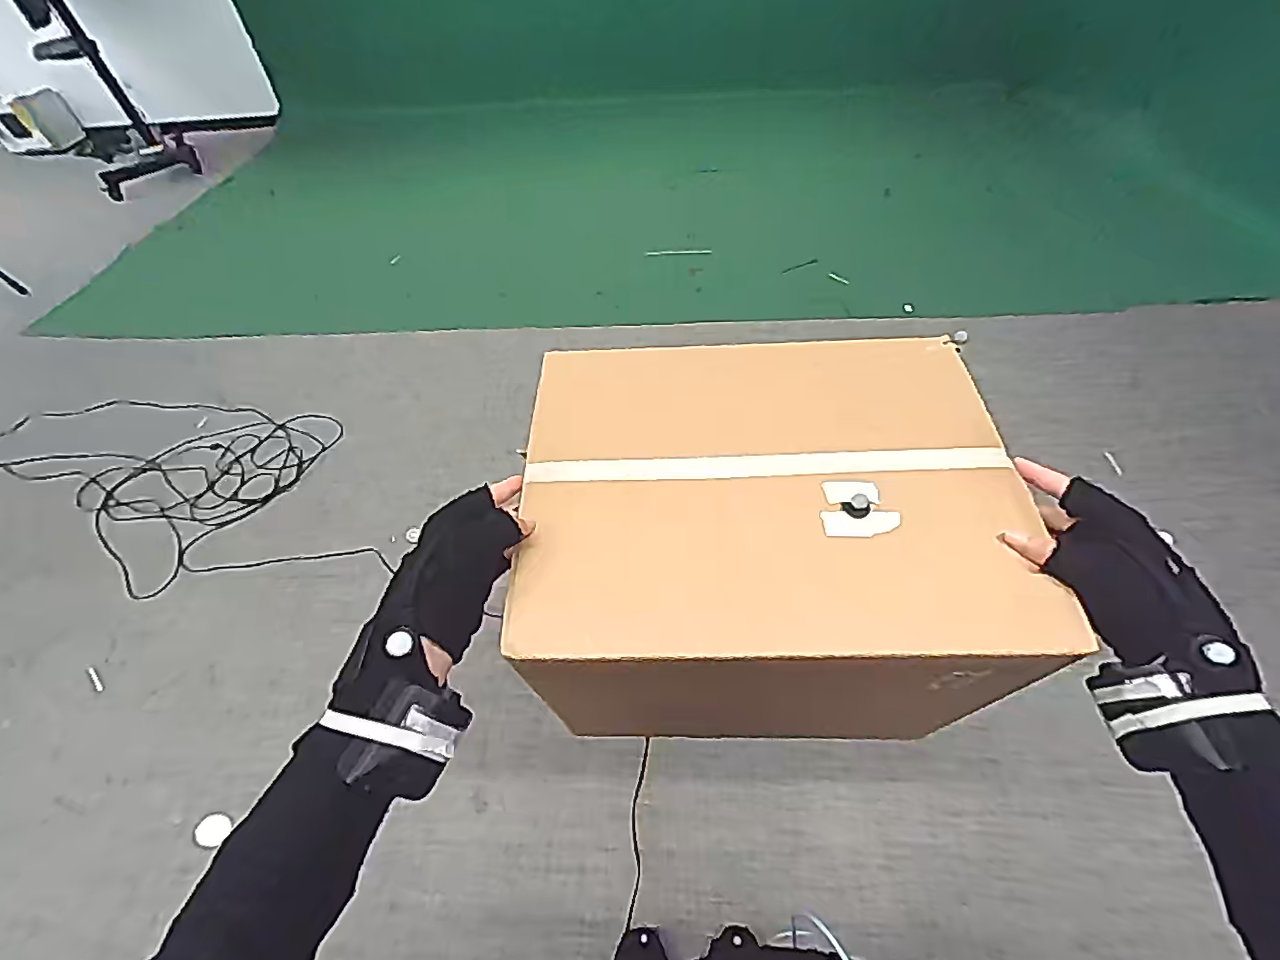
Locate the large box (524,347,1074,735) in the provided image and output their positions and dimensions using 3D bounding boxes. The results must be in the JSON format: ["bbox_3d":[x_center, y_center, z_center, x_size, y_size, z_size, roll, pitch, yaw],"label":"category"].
[{"bbox_3d":[0.114,0.081,0.592,0.408,0.320,0.320,-1,56,2],"label":"large box"}]
